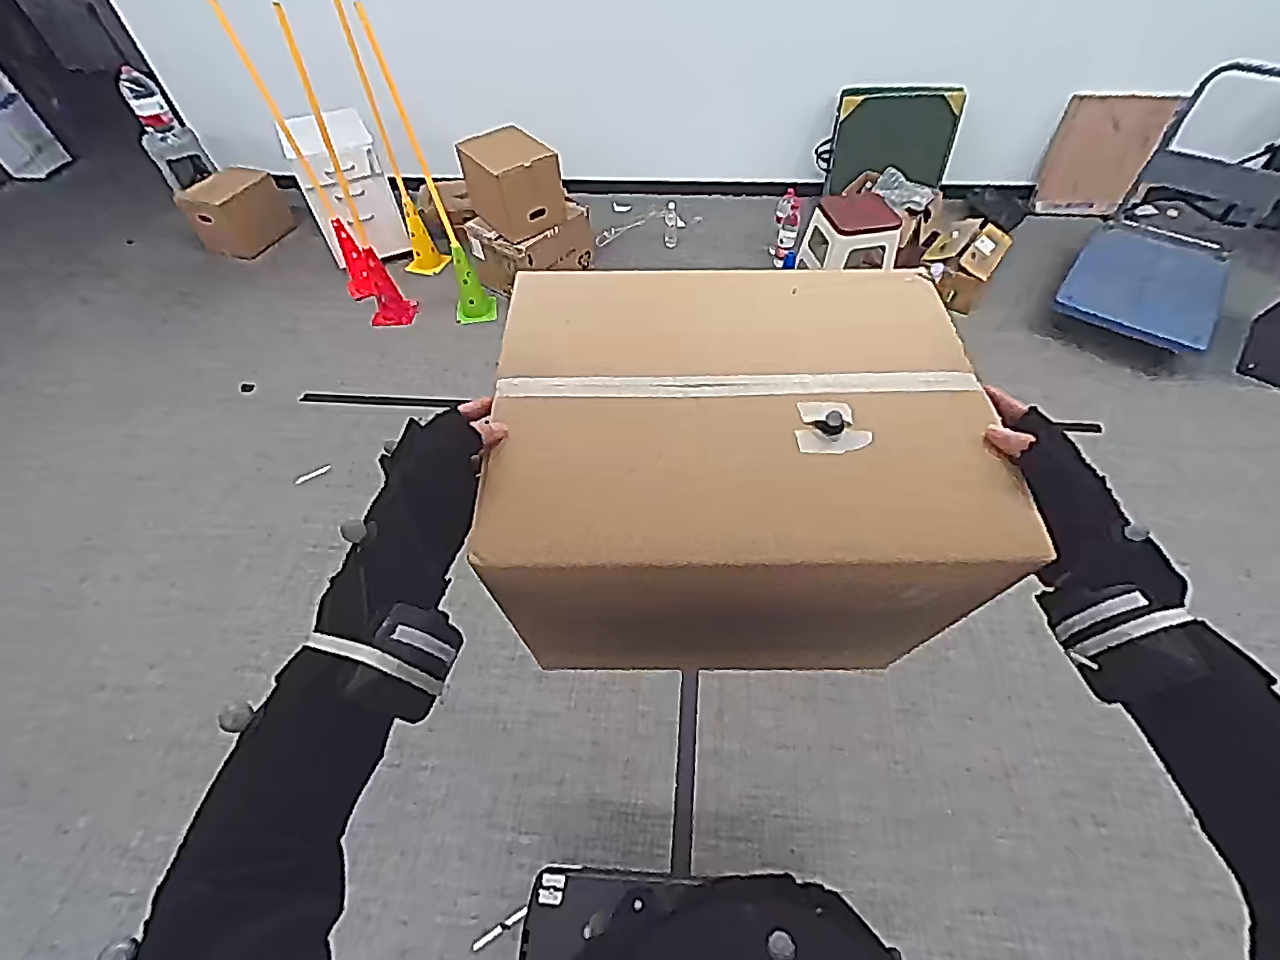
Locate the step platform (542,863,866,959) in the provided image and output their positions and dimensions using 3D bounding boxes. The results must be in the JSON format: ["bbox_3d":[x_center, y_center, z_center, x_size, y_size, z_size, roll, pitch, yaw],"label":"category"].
[{"bbox_3d":[0.130,1.023,1.176,0.684,0.204,0.286,1,53,2],"label":"step platform"}]

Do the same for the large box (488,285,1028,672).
[{"bbox_3d":[0.081,0.013,0.594,0.408,0.320,0.320,-1,58,-1],"label":"large box"}]
